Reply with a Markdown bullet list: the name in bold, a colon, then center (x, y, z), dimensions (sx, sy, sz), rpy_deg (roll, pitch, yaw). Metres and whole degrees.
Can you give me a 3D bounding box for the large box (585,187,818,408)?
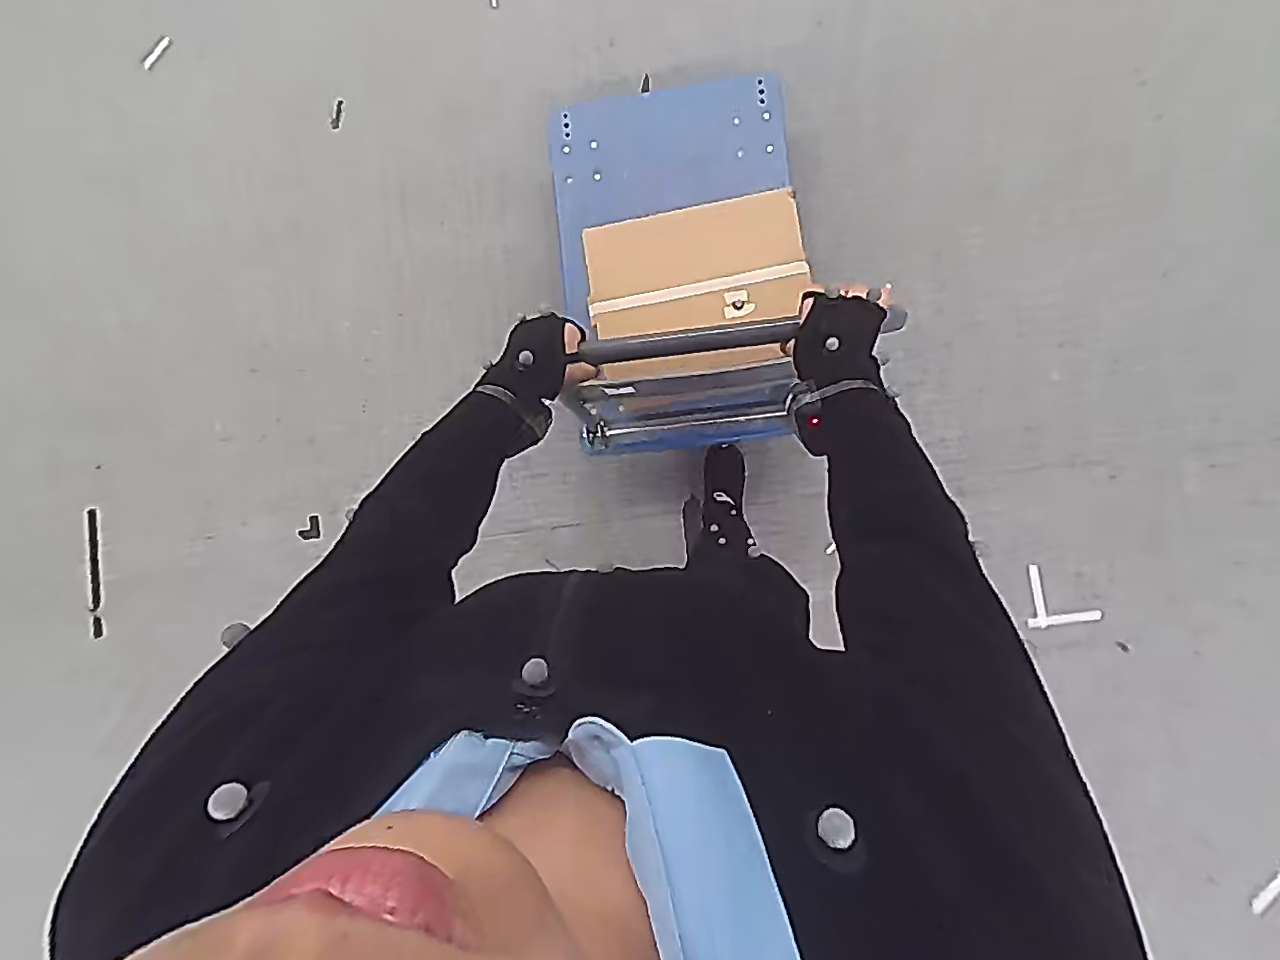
- **large box**: center (0.123, -0.363, 1.173), dimensions (0.408, 0.320, 0.320), rpy_deg (-10, 89, 4)
